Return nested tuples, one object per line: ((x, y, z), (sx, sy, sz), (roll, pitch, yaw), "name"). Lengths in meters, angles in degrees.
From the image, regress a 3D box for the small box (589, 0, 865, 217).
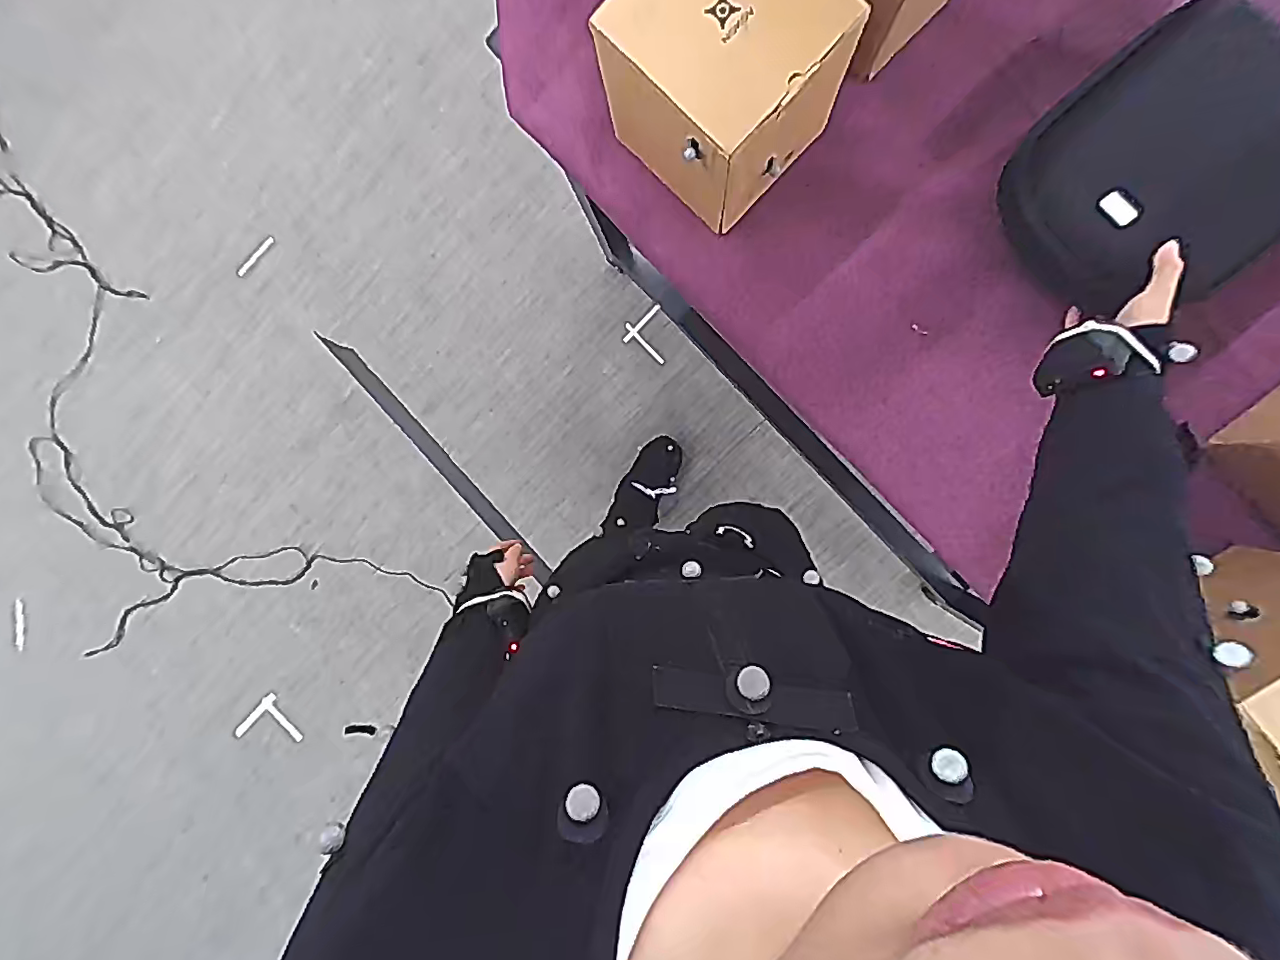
((0.077, -0.404, 0.535), (0.179, 0.176, 0.168), (44, 95, 1), "small box")
